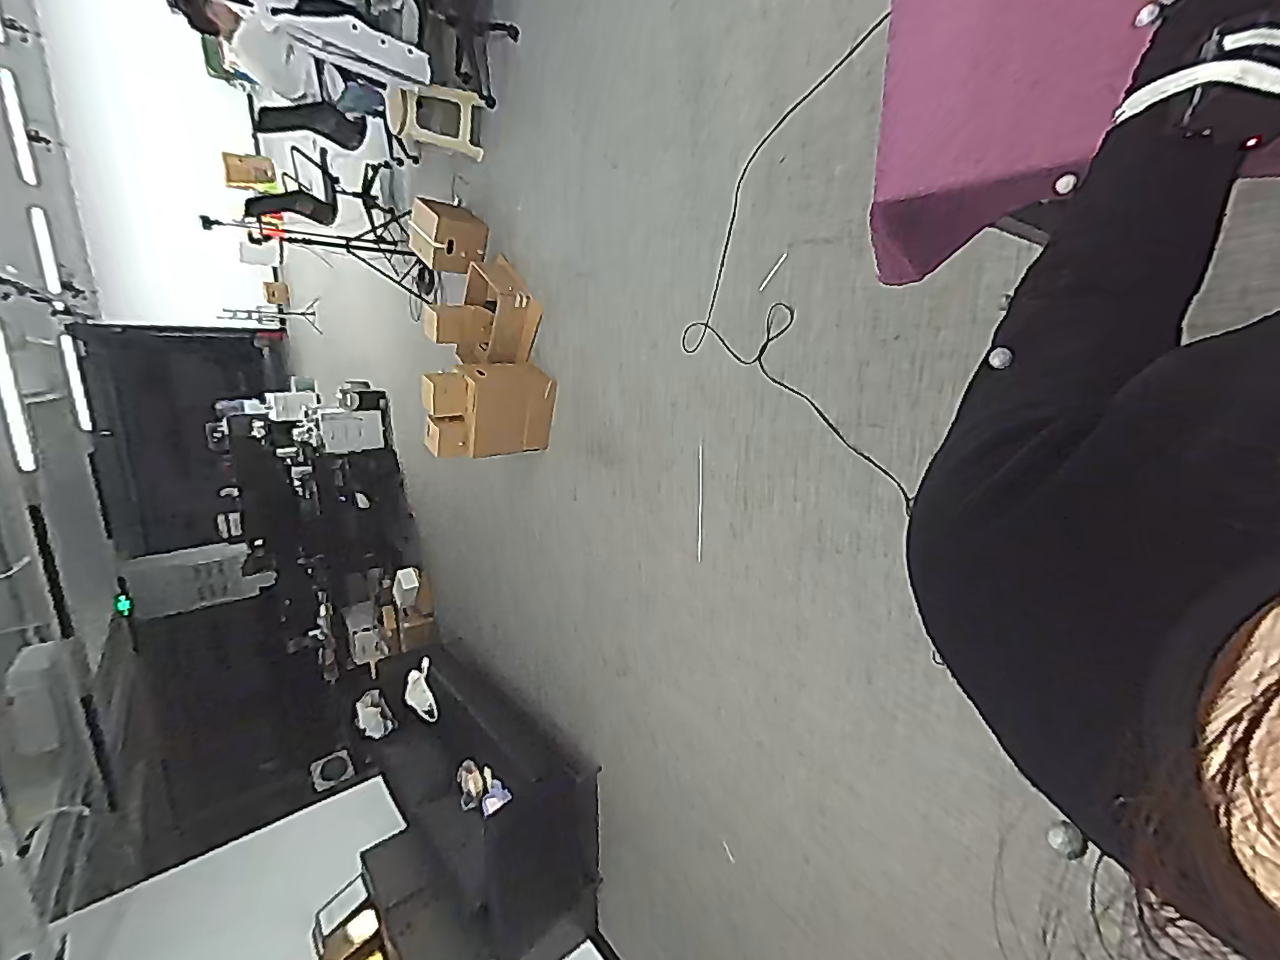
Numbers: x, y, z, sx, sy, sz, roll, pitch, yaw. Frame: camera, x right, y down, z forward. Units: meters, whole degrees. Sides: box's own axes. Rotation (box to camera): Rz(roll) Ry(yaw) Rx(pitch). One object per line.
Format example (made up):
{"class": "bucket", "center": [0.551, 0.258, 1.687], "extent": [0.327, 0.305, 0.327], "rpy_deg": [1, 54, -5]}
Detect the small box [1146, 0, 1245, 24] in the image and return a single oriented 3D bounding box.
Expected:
{"class": "small box", "center": [0.527, -0.529, 0.437], "extent": [0.168, 0.176, 0.179], "rpy_deg": [18, 112, 48]}
